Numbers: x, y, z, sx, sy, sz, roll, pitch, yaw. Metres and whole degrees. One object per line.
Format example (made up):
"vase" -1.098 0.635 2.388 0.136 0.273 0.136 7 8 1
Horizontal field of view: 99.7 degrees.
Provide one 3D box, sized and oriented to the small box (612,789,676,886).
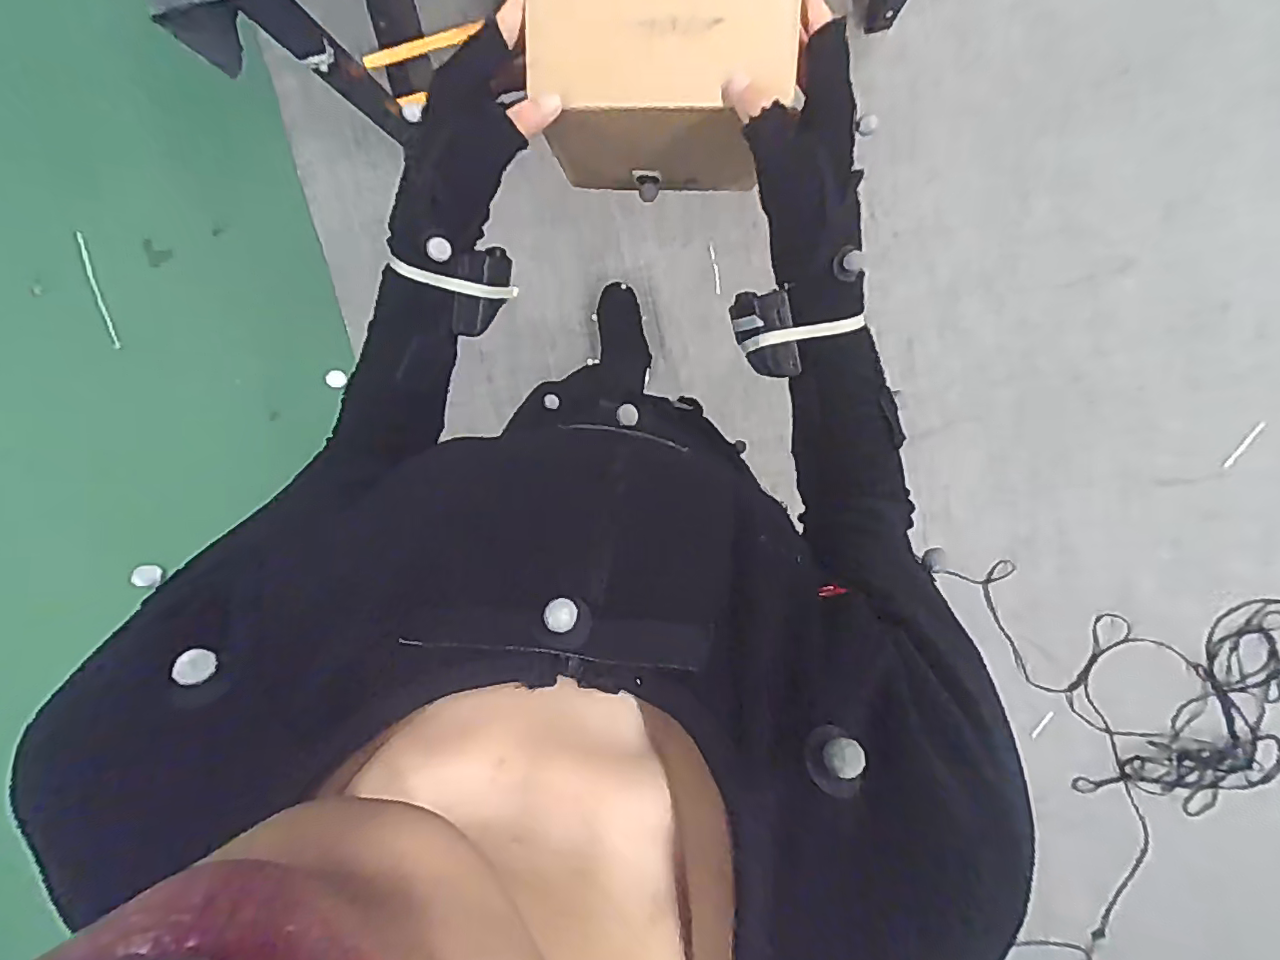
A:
"small box" 0.018 1.038 1.577 0.168 0.176 0.179 -5 99 5
